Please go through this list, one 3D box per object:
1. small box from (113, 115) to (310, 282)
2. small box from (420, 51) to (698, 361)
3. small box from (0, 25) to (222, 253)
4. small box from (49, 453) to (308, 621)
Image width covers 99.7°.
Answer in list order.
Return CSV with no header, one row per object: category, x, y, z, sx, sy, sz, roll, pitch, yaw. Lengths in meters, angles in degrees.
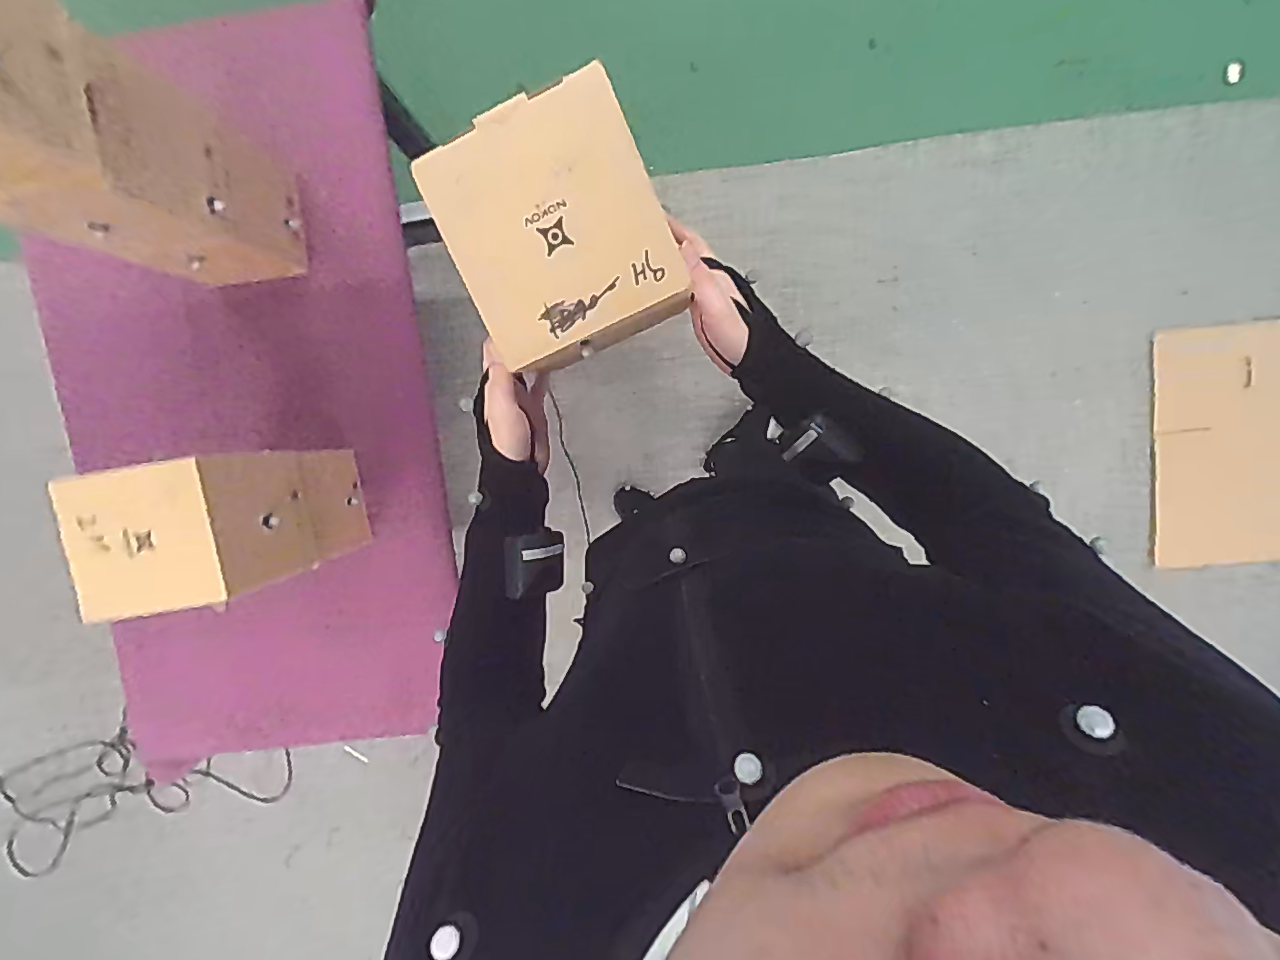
small box,-0.637,-0.403,0.805,0.179,0.176,0.168,-5,97,3
small box,-0.057,-0.218,0.489,0.168,0.176,0.179,-22,99,9
small box,-0.643,-0.385,0.642,0.179,0.176,0.168,-6,97,5
small box,-0.553,0.060,0.679,0.179,0.176,0.168,-9,95,3
